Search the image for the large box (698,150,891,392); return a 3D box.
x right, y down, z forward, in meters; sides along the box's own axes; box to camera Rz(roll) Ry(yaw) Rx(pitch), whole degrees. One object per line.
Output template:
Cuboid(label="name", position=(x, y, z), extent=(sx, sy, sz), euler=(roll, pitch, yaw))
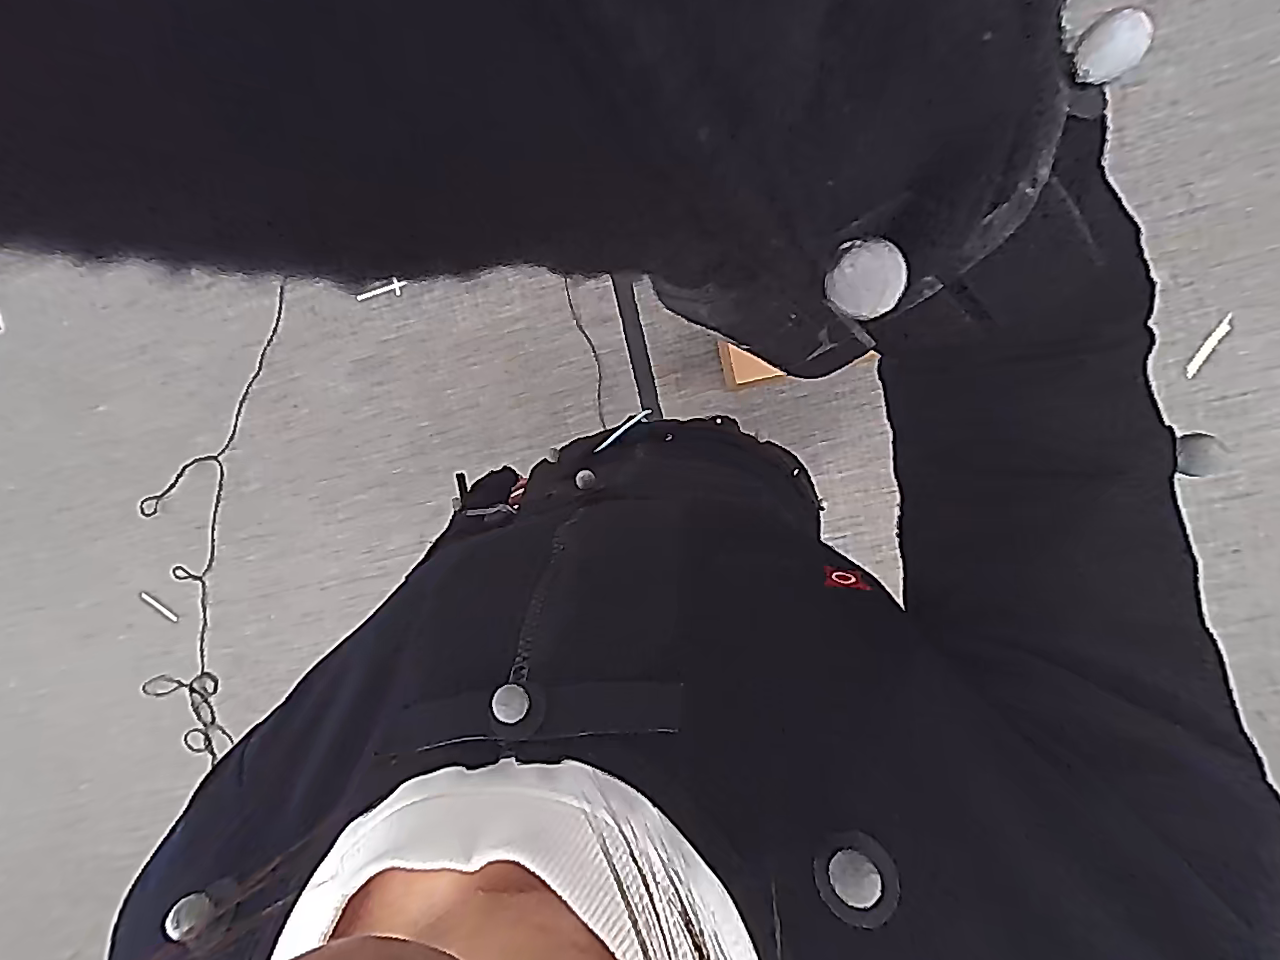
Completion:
Cuboid(label="large box", position=(0.324, -0.436, 1.229), extent=(0.320, 0.320, 0.408), euler=(-12, 95, 8))
